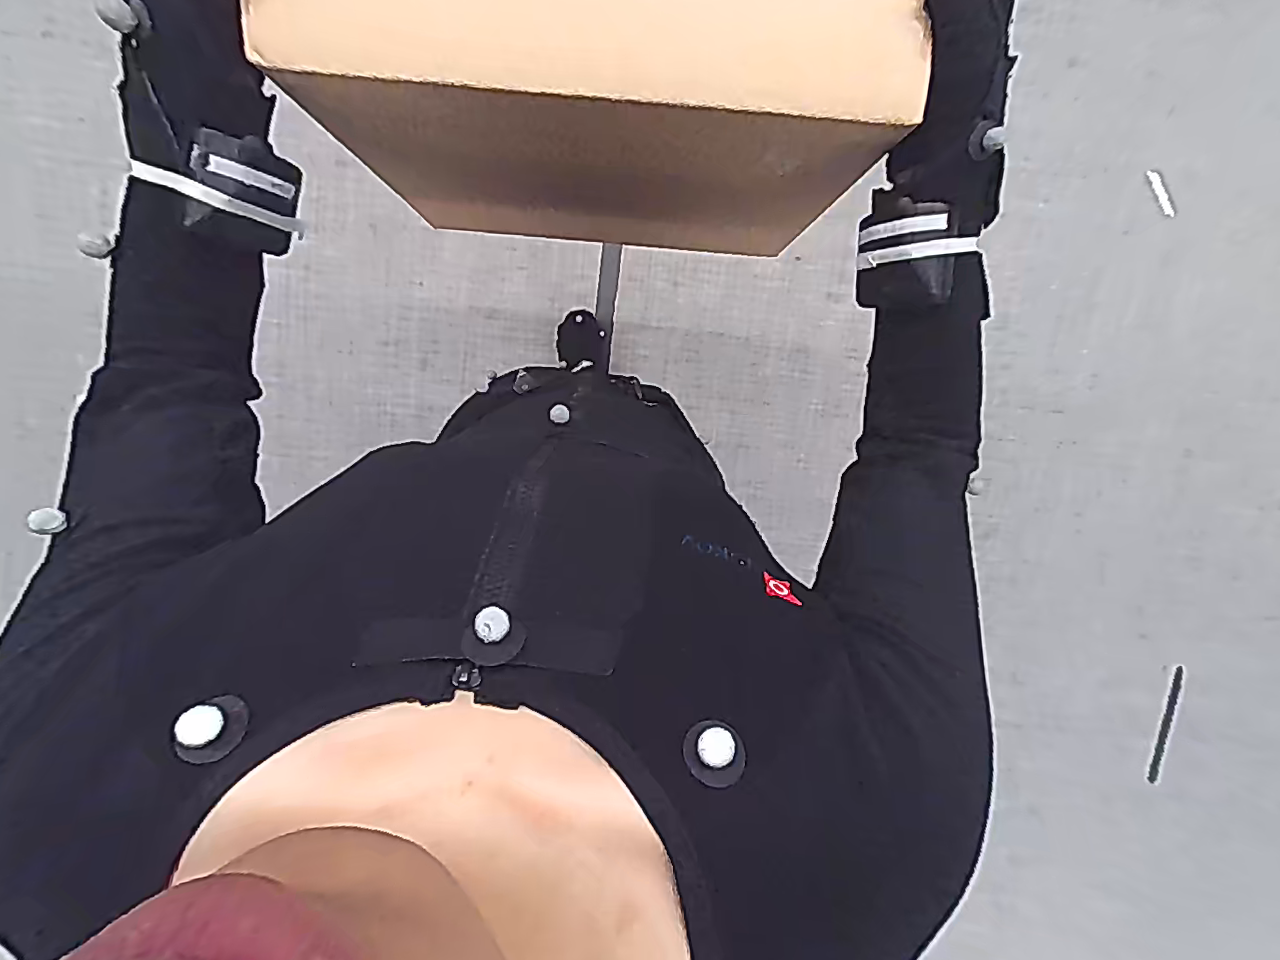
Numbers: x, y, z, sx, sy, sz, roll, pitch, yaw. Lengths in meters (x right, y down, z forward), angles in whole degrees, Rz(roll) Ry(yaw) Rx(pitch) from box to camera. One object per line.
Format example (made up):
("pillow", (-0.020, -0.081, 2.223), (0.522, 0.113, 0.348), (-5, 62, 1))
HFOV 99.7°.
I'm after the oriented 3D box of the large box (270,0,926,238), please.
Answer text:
("large box", (-0.023, -0.418, 0.458), (0.408, 0.320, 0.320), (3, 99, -3))
